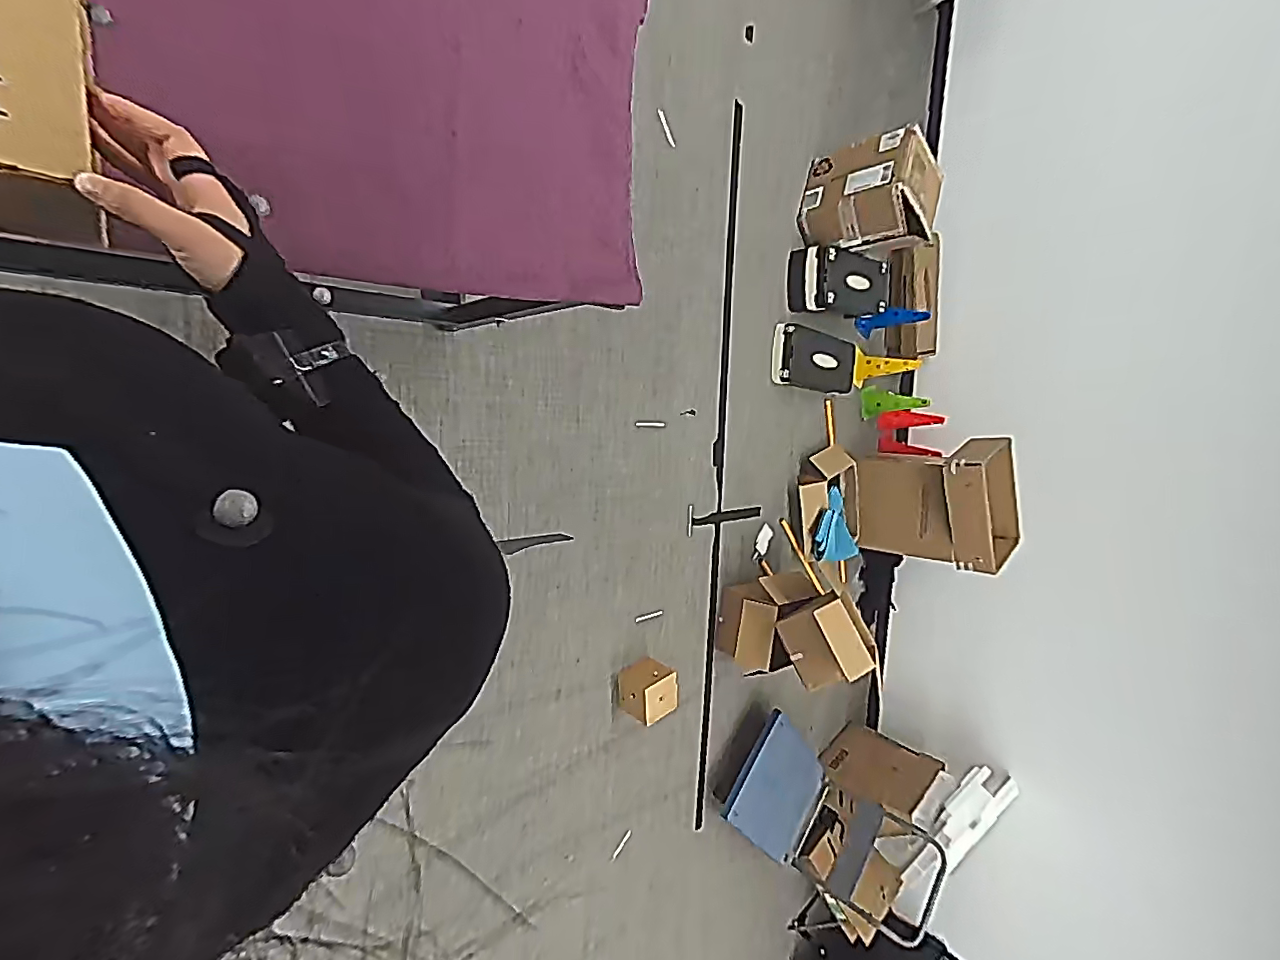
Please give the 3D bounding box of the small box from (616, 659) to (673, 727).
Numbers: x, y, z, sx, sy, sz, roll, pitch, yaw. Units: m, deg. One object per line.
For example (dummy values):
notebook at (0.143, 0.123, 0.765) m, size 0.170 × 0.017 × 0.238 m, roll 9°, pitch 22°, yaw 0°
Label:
small box at (0.014, 0.853, 2.184) m, size 0.179 × 0.176 × 0.168 m, roll -14°, pitch 106°, yaw -42°
